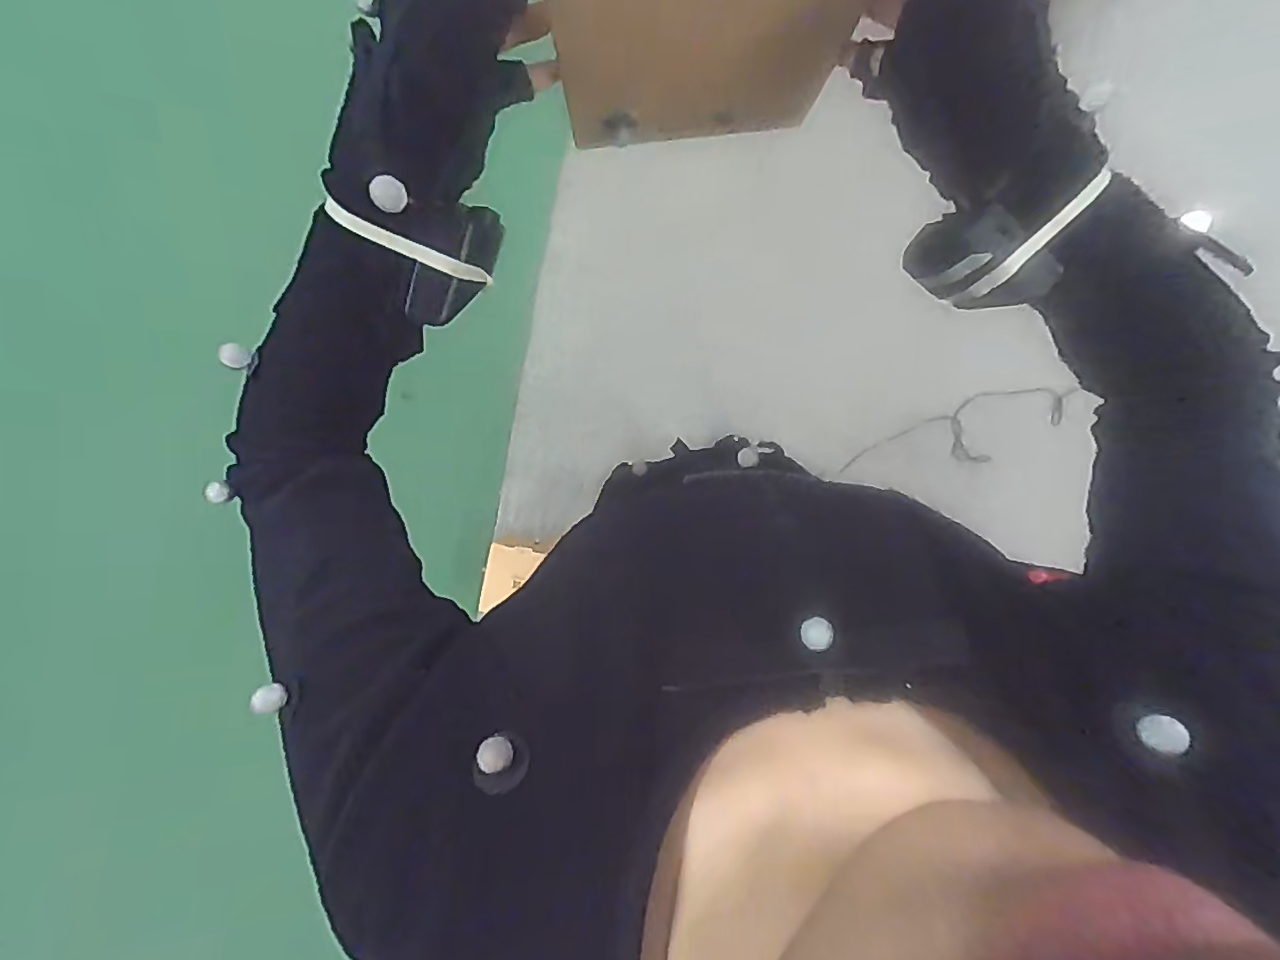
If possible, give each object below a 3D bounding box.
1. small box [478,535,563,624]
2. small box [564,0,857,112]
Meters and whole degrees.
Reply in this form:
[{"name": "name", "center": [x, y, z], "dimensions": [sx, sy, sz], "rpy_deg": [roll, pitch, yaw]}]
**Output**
[{"name": "small box", "center": [-0.301, 0.251, 1.395], "dimensions": [0.168, 0.176, 0.179], "rpy_deg": [11, 91, -2]}, {"name": "small box", "center": [0.035, -0.334, 0.295], "dimensions": [0.168, 0.176, 0.179], "rpy_deg": [-6, 94, -1]}]
